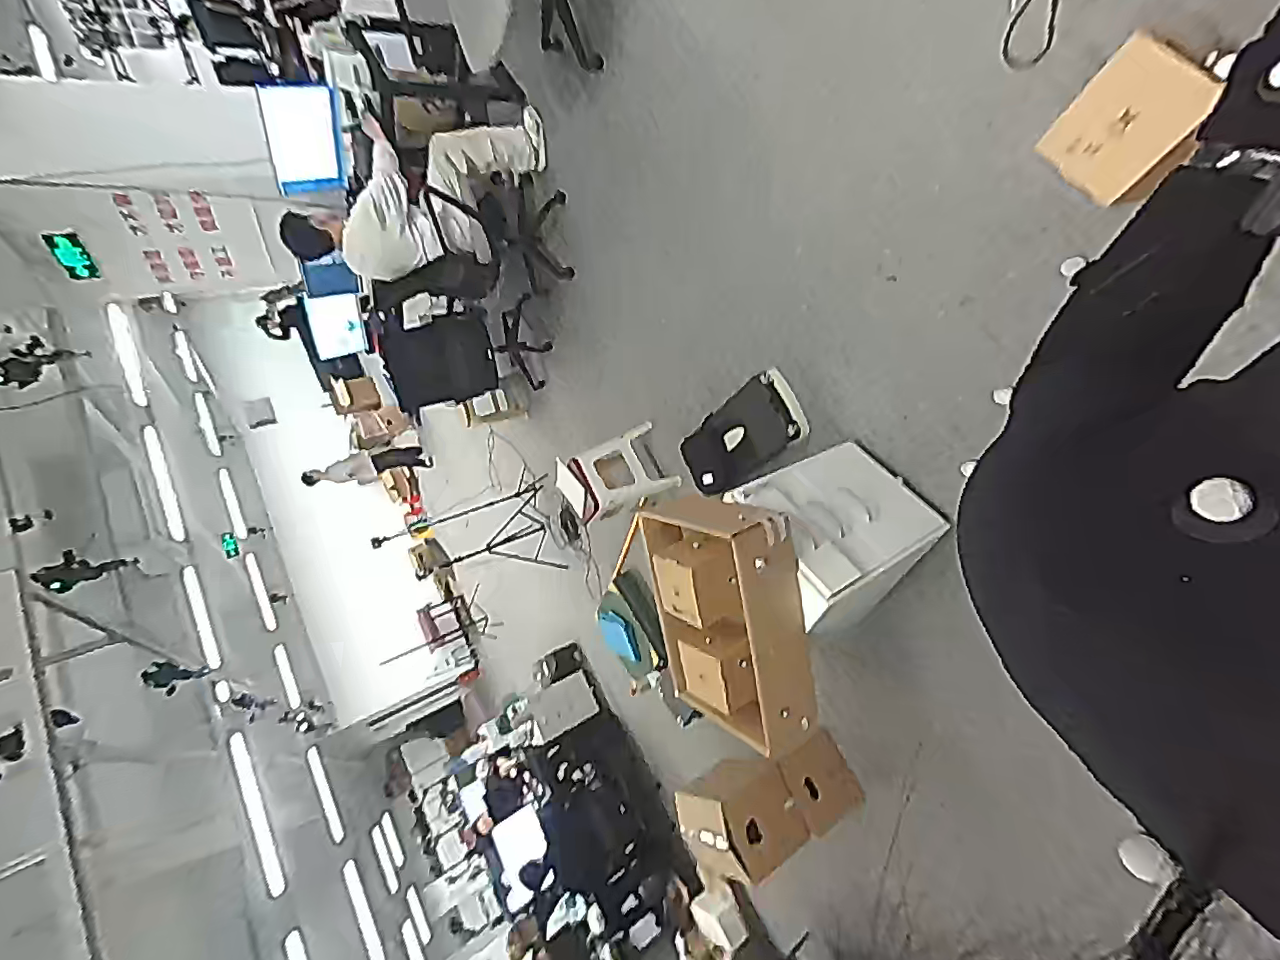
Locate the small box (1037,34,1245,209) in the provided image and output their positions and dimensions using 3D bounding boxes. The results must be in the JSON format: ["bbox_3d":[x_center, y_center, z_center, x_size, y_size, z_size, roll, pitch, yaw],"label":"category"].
[{"bbox_3d":[0.814,-0.576,0.879,0.168,0.176,0.179,58,149,19],"label":"small box"}]

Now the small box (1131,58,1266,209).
[{"bbox_3d":[0.947,-0.620,0.966,0.168,0.176,0.179,58,149,17],"label":"small box"}]
